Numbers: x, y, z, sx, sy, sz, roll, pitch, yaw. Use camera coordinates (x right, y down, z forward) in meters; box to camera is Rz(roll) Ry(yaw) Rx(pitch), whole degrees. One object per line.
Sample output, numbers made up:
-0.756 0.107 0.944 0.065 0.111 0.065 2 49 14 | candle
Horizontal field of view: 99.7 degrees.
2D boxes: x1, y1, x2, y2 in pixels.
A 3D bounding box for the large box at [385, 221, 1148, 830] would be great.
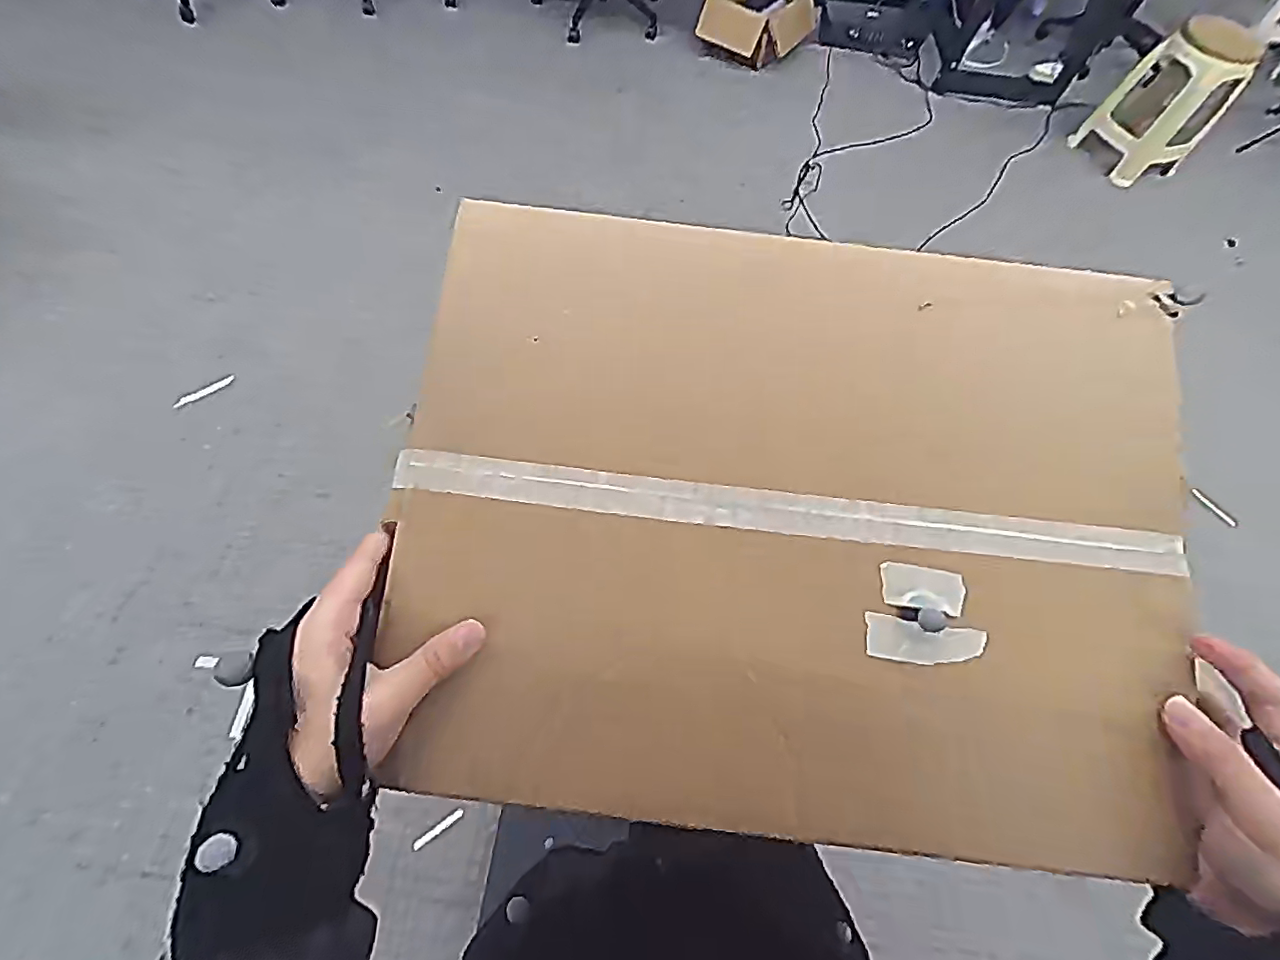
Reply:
0.075 0.036 0.447 0.408 0.320 0.320 7 81 0 | large box
